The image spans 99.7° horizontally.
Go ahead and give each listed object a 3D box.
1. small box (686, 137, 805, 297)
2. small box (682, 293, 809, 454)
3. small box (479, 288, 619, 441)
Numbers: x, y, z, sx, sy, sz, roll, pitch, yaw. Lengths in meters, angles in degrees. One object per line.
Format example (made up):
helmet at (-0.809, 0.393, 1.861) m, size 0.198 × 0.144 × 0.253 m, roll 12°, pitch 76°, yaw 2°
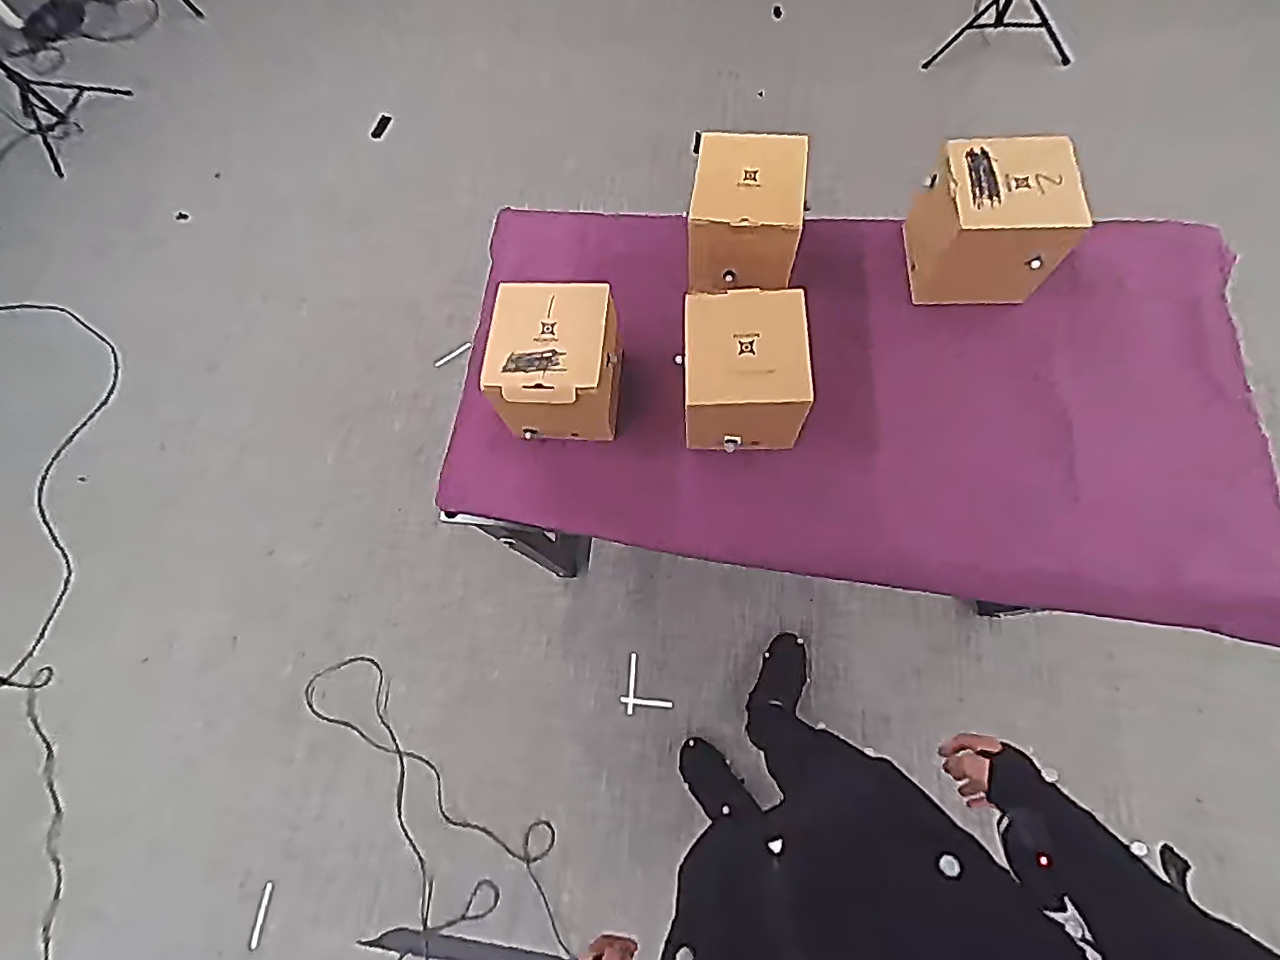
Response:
small box at (0.165, -0.419, 0.884) m, size 0.168 × 0.176 × 0.179 m, roll 6°, pitch 73°, yaw 7°
small box at (0.145, -0.150, 0.800) m, size 0.168 × 0.176 × 0.179 m, roll -1°, pitch 71°, yaw 6°
small box at (-0.127, -0.169, 0.829) m, size 0.168 × 0.176 × 0.179 m, roll 2°, pitch 70°, yaw 6°
